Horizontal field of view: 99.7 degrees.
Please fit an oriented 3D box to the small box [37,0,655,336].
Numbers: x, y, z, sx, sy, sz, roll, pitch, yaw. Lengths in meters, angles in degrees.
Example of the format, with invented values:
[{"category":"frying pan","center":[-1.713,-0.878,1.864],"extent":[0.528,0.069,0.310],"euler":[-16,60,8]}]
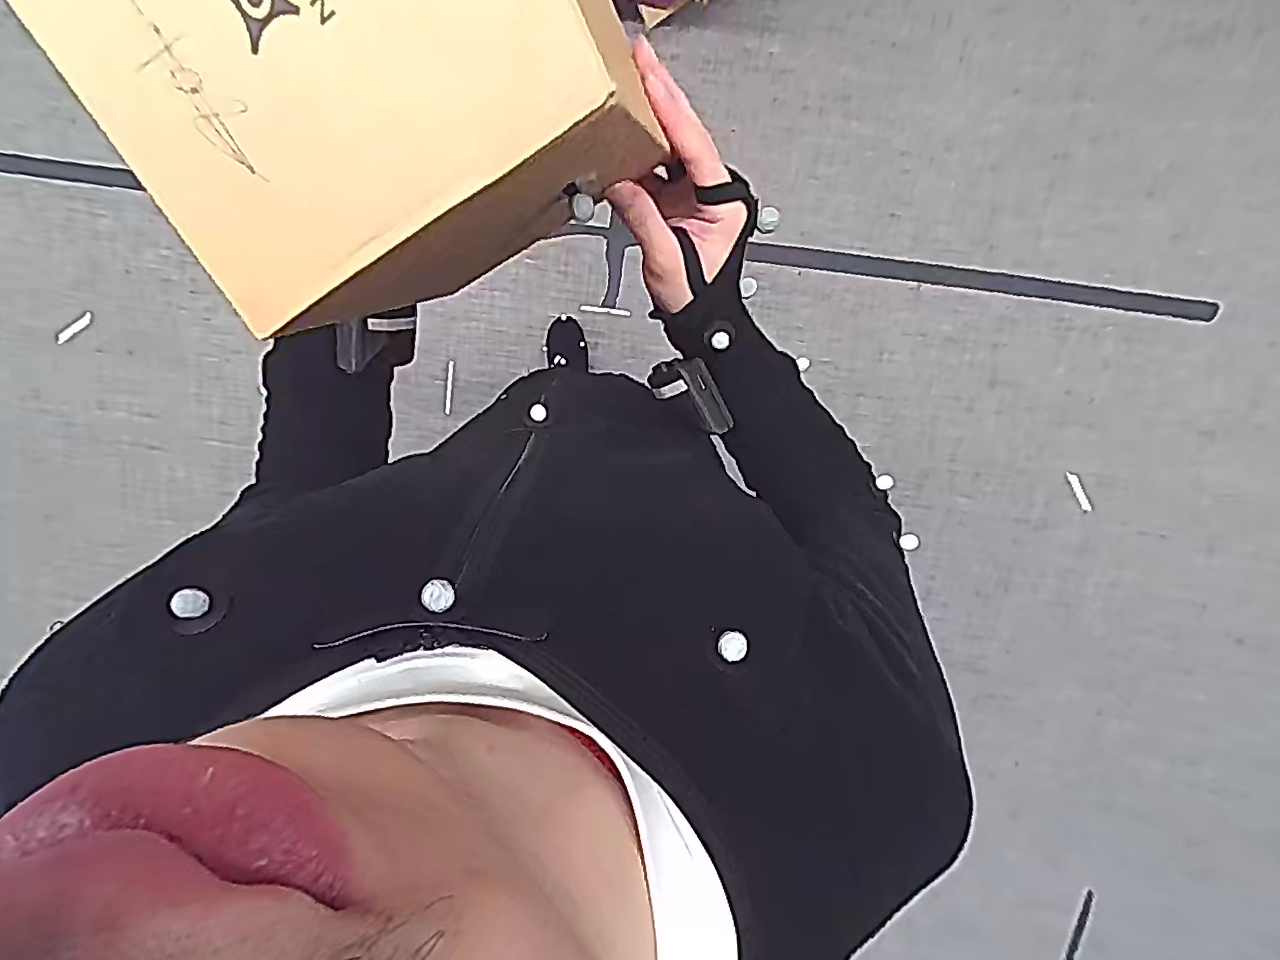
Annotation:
[{"category":"small box","center":[-0.104,-0.194,0.255],"extent":[0.179,0.176,0.168],"euler":[-23,108,21]}]
